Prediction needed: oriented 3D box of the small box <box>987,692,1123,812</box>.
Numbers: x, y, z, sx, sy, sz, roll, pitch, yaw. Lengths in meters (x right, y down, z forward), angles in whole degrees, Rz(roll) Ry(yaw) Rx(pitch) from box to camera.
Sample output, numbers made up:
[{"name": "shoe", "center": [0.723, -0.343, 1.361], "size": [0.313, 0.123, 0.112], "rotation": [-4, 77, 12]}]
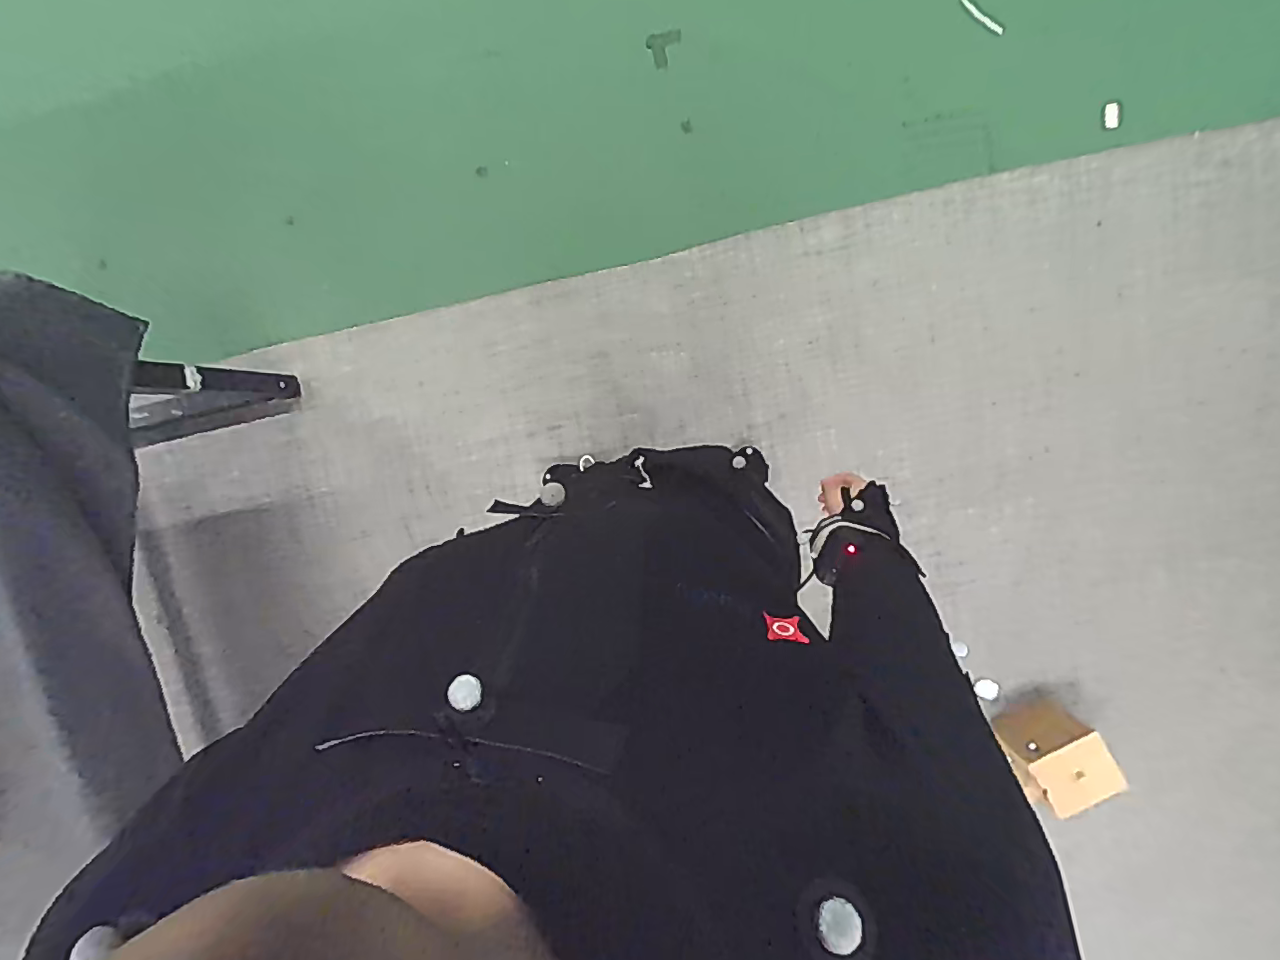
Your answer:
[{"name": "small box", "center": [1.020, 0.666, 1.344], "size": [0.179, 0.176, 0.168], "rotation": [-32, 95, 7]}]
